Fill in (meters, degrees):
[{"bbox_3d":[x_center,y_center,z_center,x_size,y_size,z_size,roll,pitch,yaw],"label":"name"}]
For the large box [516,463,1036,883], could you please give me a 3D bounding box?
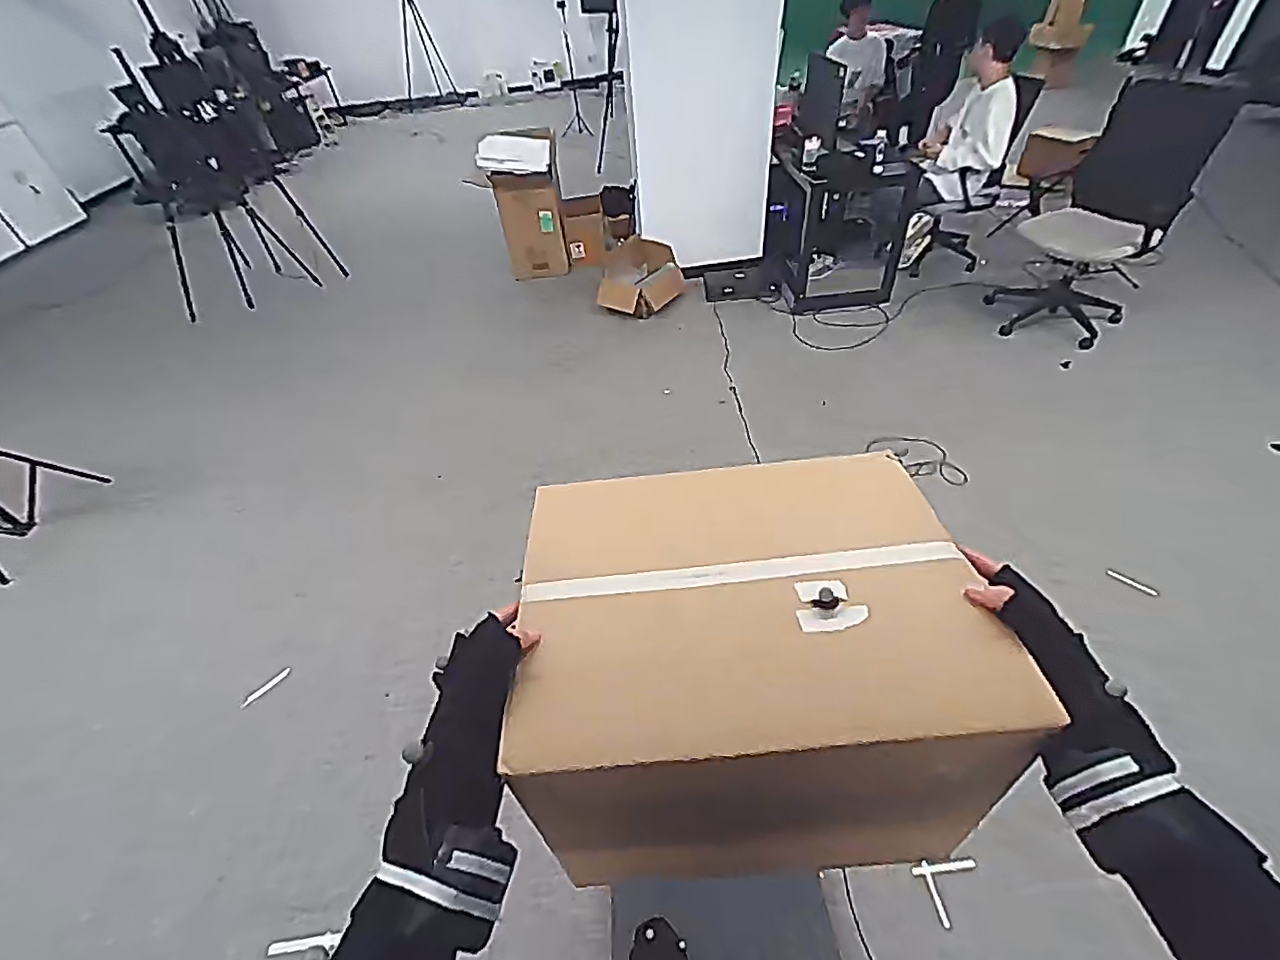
[{"bbox_3d":[0.105,0.212,0.611,0.408,0.320,0.320,-6,40,1],"label":"large box"}]
